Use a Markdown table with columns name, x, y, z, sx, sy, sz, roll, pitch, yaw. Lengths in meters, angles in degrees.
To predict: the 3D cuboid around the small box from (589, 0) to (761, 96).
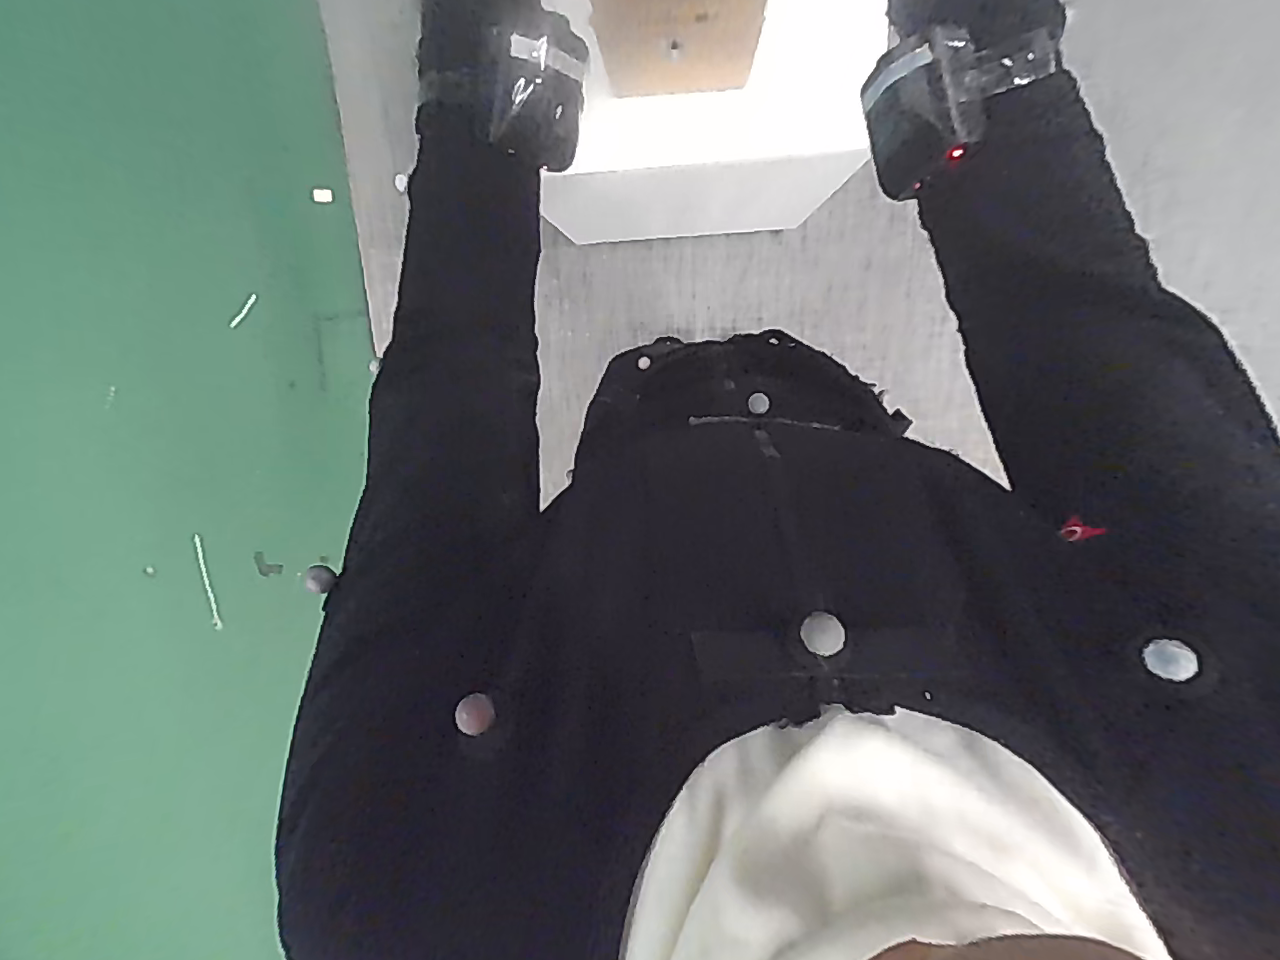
| name | x | y | z | sx | sy | sz | roll | pitch | yaw |
| --- | --- | --- | --- | --- | --- | --- | --- | --- | --- |
| small box | 0.040 | -0.559 | 0.607 | 0.179 | 0.176 | 0.168 | -1 | 105 | 4 |

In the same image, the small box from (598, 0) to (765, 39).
| name | x | y | z | sx | sy | sz | roll | pitch | yaw |
| --- | --- | --- | --- | --- | --- | --- | --- | --- | --- |
| small box | 0.032 | -0.518 | 0.451 | 0.168 | 0.176 | 0.179 | -2 | 106 | 4 |
